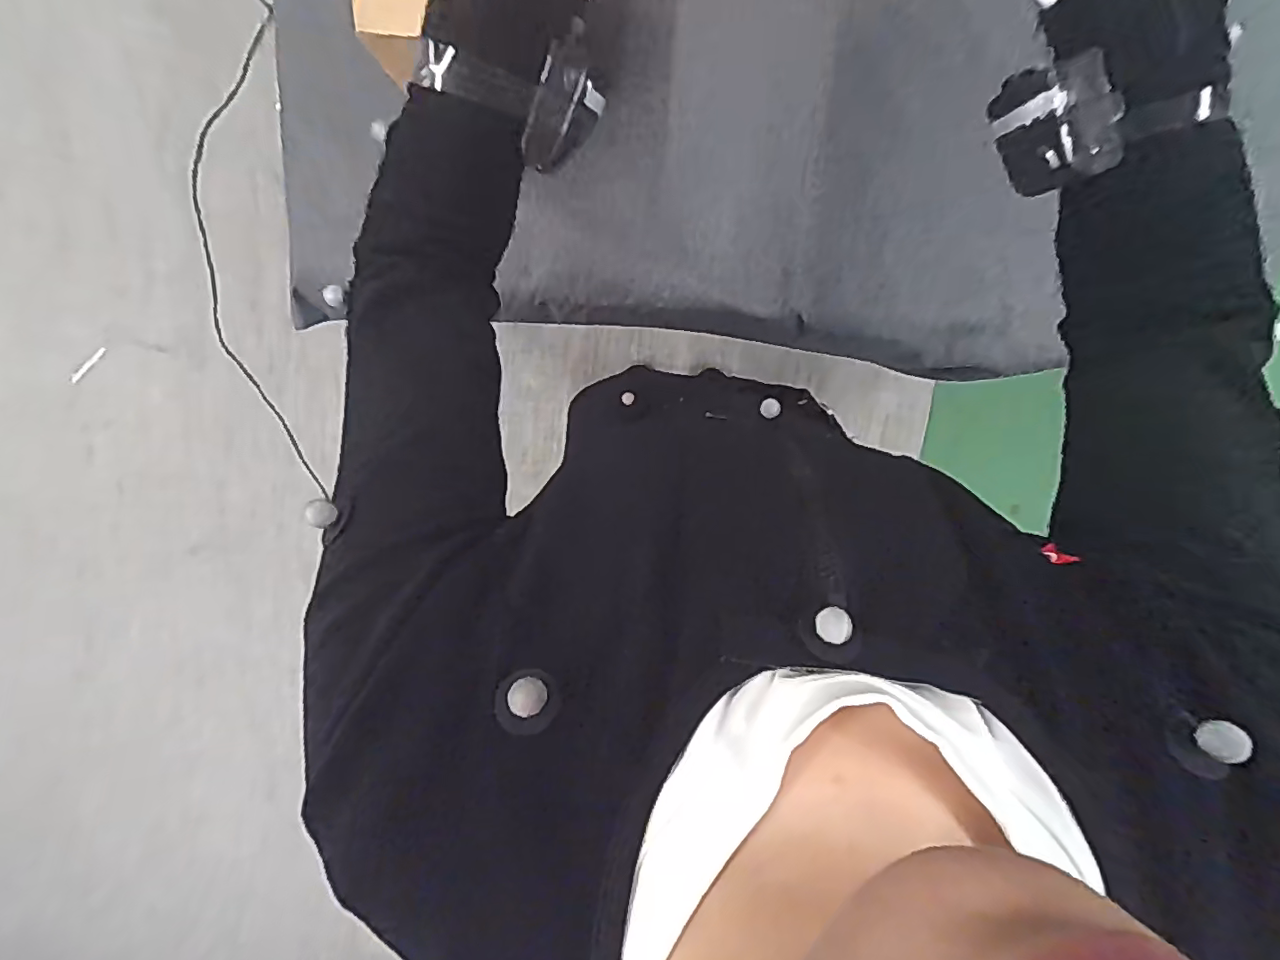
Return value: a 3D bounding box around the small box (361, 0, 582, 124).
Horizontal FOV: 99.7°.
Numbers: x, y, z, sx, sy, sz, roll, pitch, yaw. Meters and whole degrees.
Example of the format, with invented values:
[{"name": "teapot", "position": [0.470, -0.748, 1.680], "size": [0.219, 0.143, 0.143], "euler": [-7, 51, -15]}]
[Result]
[{"name": "small box", "position": [-0.159, -0.491, 0.551], "size": [0.179, 0.176, 0.168], "euler": [3, 102, -1]}]
